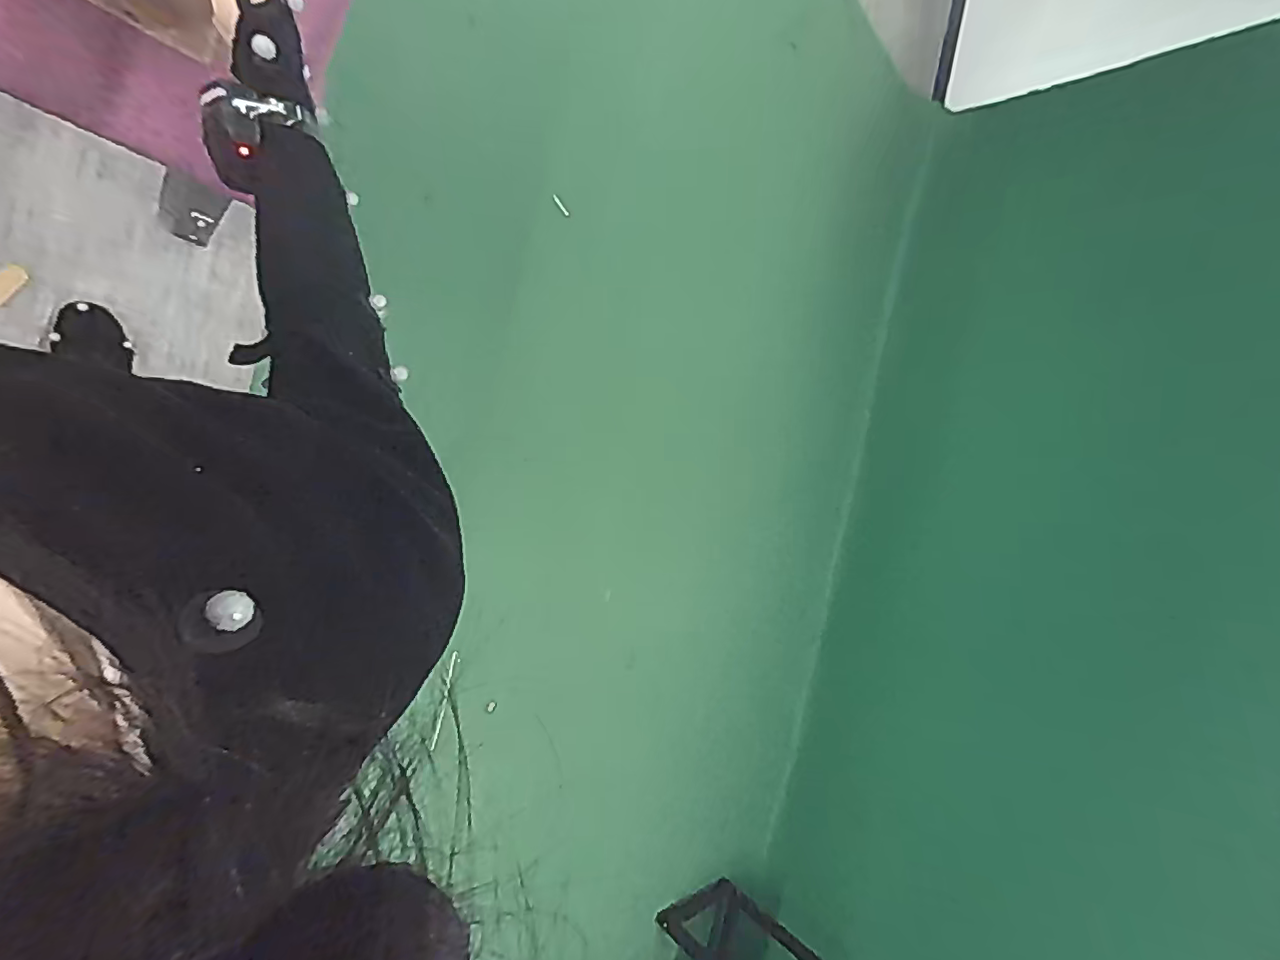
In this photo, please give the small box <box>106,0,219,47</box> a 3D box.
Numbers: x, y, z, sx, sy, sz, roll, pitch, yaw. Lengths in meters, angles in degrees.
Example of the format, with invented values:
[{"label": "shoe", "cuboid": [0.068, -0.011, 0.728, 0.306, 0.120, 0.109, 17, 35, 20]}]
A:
[{"label": "small box", "cuboid": [-0.449, -0.540, 0.464, 0.168, 0.176, 0.179, 14, 89, -44]}]
